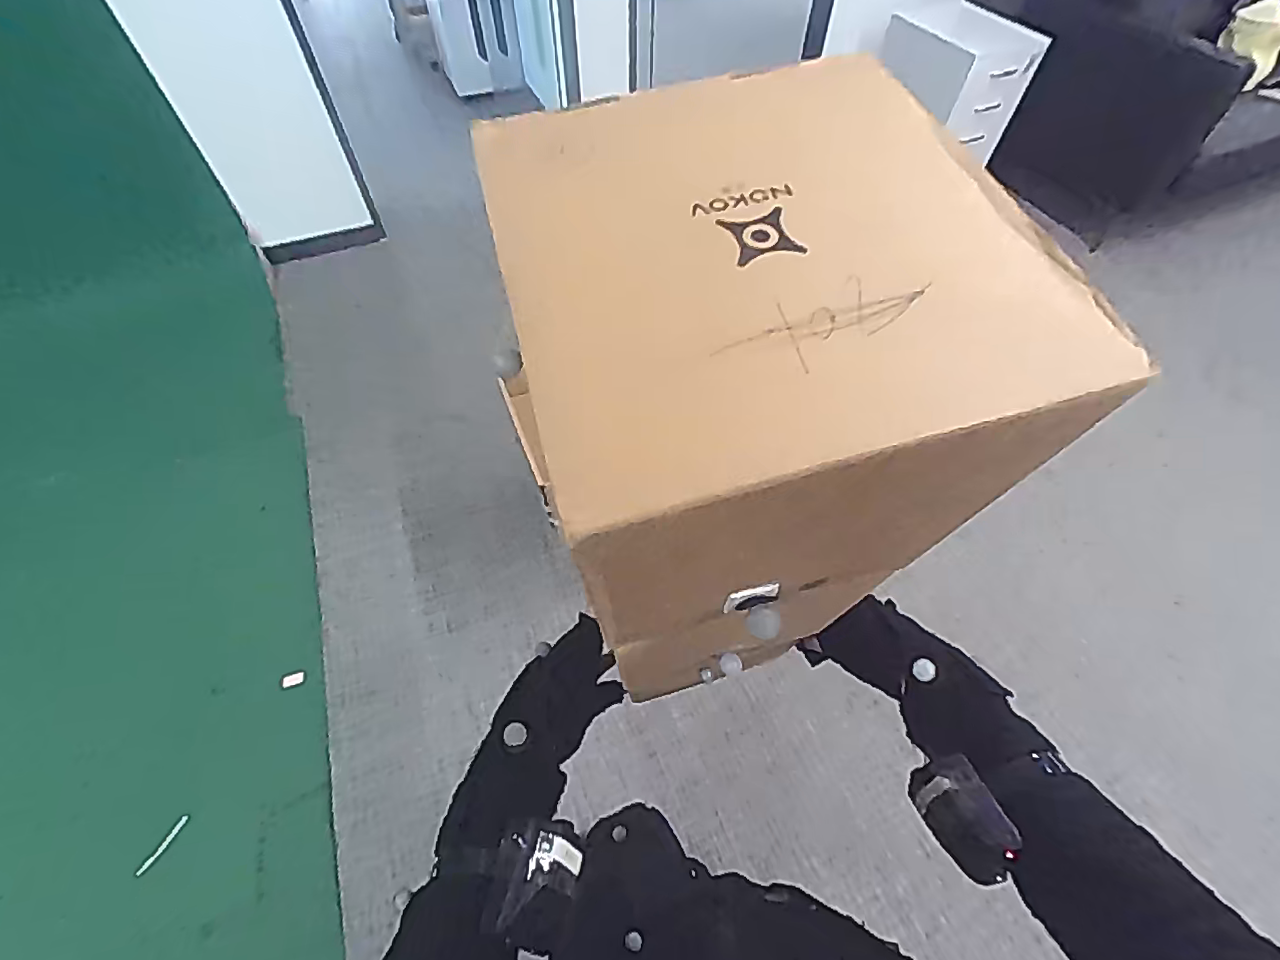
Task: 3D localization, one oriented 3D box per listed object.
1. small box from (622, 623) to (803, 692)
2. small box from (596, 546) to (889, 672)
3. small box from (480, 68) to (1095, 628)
[{"bbox_3d":[0.046,0.098,0.552,0.168,0.176,0.179,-16,63,-6],"label":"small box"},{"bbox_3d":[0.041,0.025,0.404,0.168,0.176,0.179,-15,63,-6],"label":"small box"},{"bbox_3d":[0.037,-0.049,0.261,0.168,0.176,0.179,-16,64,-5],"label":"small box"}]
